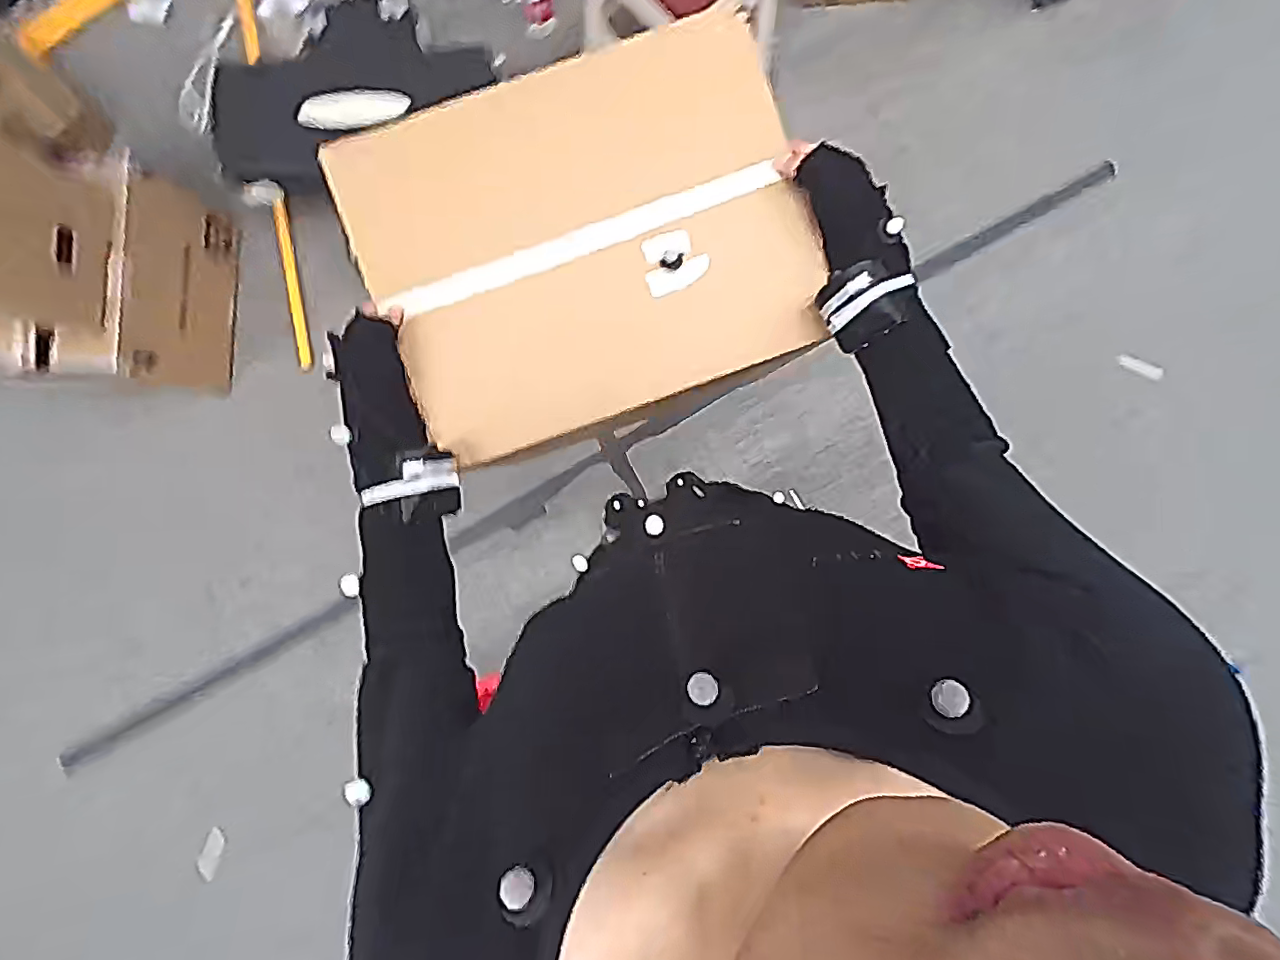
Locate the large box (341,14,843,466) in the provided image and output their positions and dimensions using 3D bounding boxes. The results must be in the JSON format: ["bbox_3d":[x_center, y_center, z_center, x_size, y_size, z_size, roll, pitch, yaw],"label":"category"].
[{"bbox_3d":[-0.046,-0.226,0.652,0.408,0.320,0.320,-19,93,0],"label":"large box"}]
